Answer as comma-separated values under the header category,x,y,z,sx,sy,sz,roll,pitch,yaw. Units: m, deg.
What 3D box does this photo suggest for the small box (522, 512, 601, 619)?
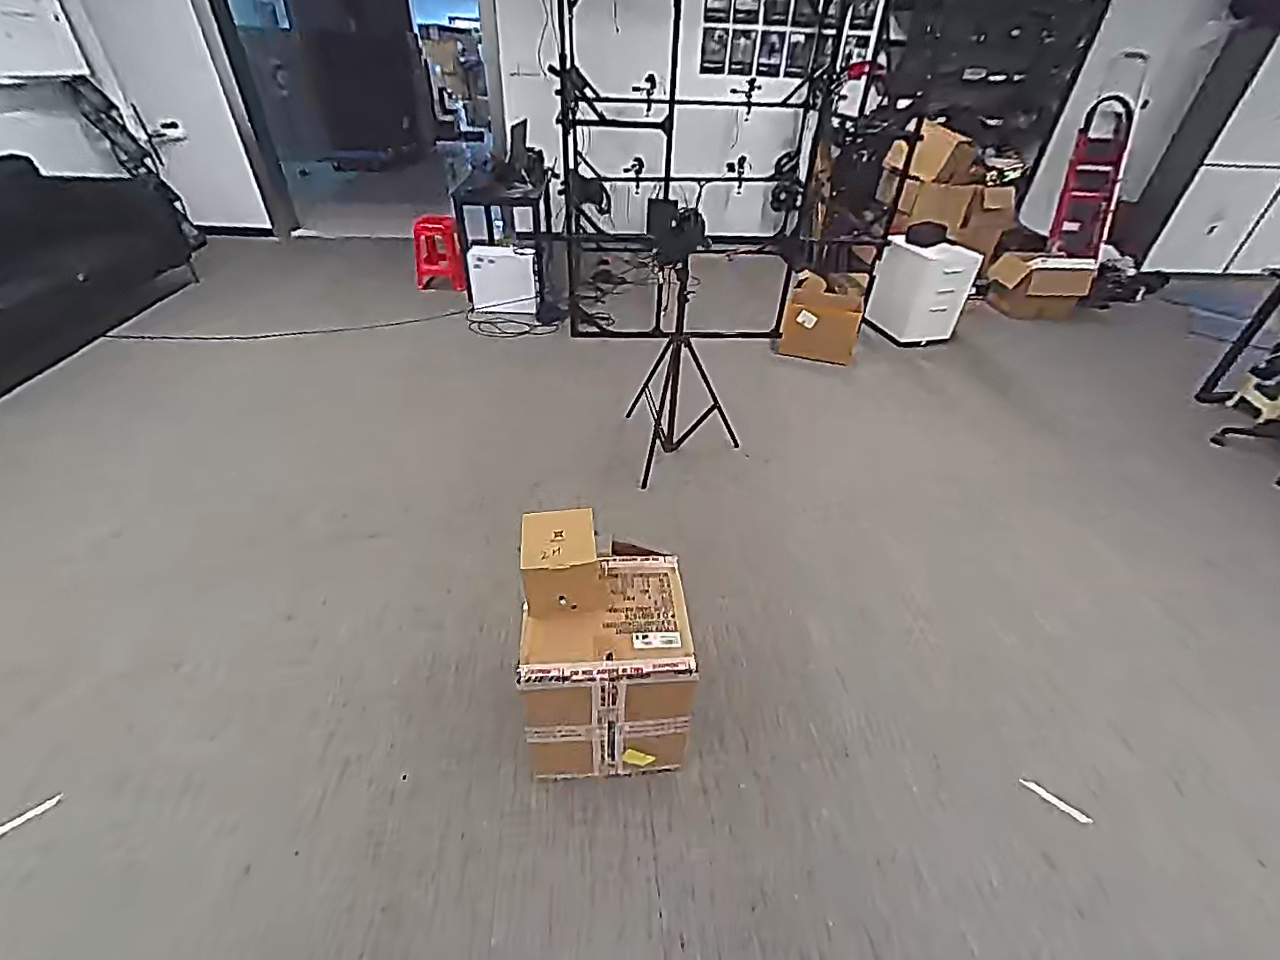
category,x,y,z,sx,sy,sz,roll,pitch,yaw
small box,-0.181,0.199,1.268,0.168,0.176,0.179,-5,41,-6
